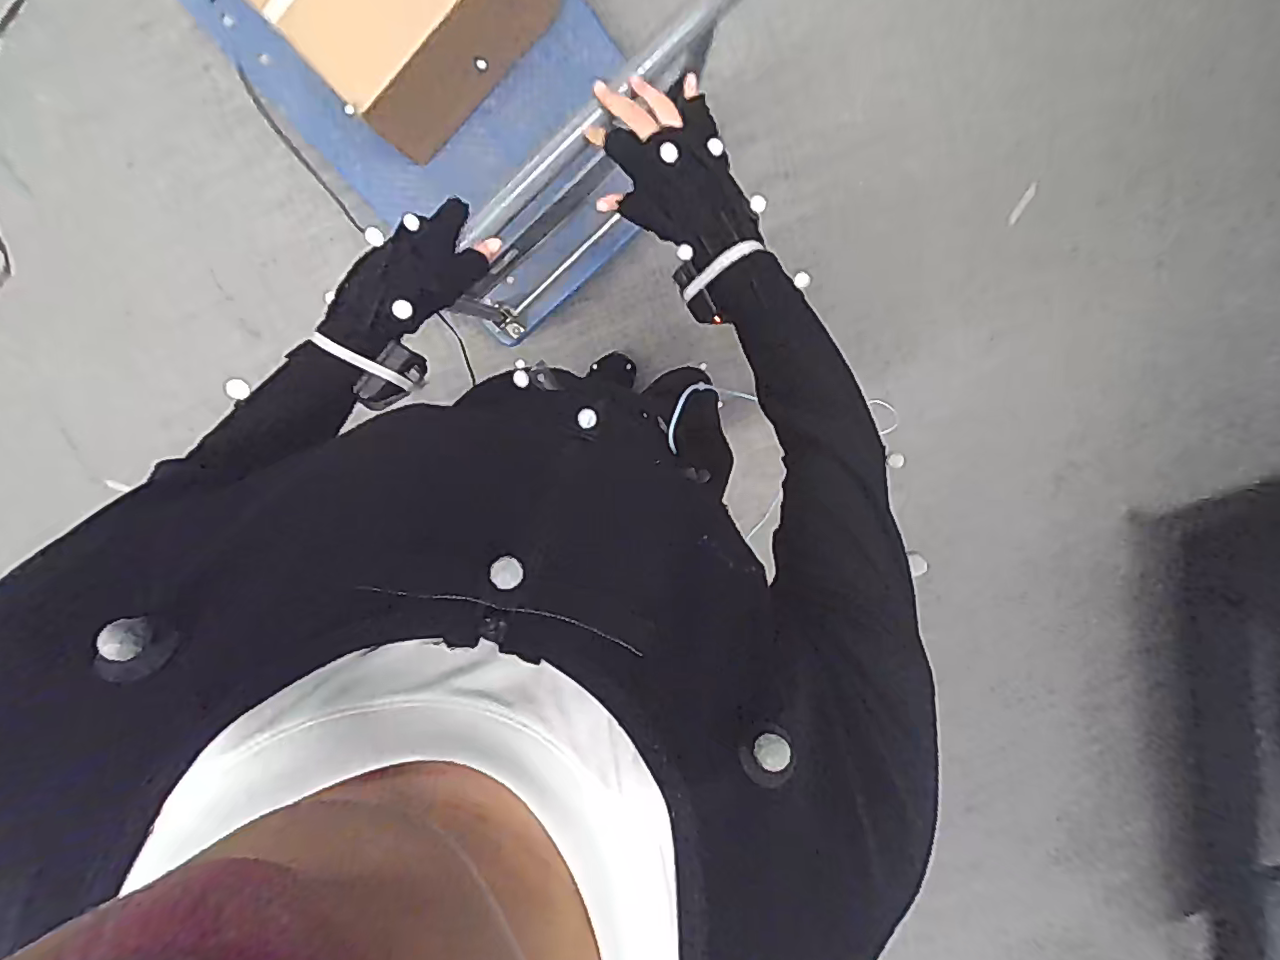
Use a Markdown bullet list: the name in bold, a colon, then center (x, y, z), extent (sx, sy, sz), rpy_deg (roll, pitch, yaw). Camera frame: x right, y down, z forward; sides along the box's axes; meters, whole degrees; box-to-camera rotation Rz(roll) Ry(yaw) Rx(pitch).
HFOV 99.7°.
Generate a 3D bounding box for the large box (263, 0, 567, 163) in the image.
- **large box**: center (-0.368, -0.829, 0.887), extent (0.408, 0.320, 0.320), rpy_deg (-43, 105, 10)
